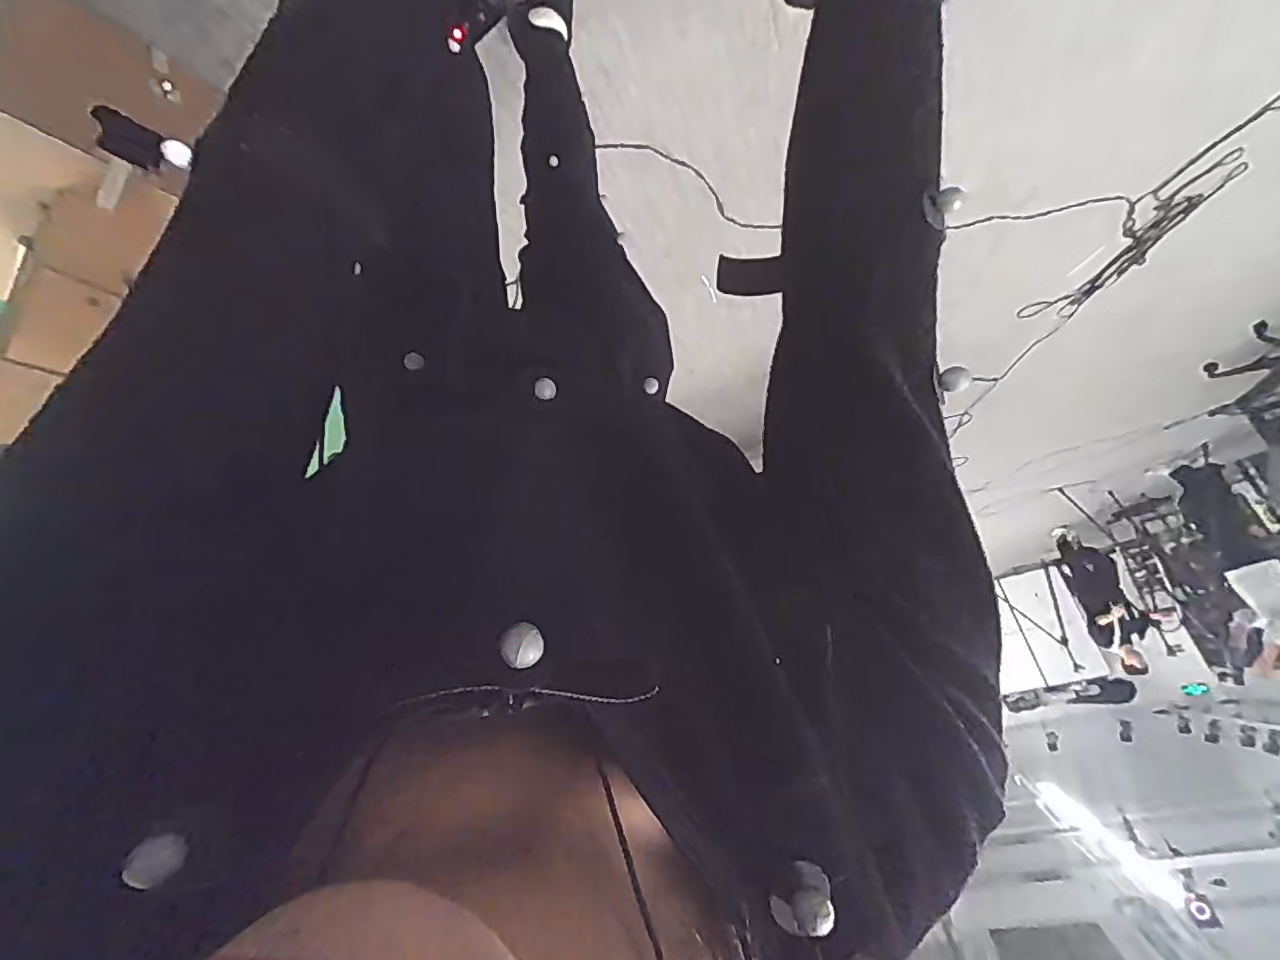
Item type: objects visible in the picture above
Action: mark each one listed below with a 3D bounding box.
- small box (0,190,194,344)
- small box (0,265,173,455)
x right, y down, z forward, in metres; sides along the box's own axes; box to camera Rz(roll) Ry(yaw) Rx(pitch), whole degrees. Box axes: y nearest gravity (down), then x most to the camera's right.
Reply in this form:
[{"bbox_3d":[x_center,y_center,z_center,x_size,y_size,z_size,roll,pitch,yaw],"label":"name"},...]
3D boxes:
[{"bbox_3d":[-0.843,-0.305,0.848,0.168,0.176,0.179,-25,153,25],"label":"small box"},{"bbox_3d":[-0.811,-0.164,0.774,0.179,0.176,0.168,-25,154,23],"label":"small box"}]
